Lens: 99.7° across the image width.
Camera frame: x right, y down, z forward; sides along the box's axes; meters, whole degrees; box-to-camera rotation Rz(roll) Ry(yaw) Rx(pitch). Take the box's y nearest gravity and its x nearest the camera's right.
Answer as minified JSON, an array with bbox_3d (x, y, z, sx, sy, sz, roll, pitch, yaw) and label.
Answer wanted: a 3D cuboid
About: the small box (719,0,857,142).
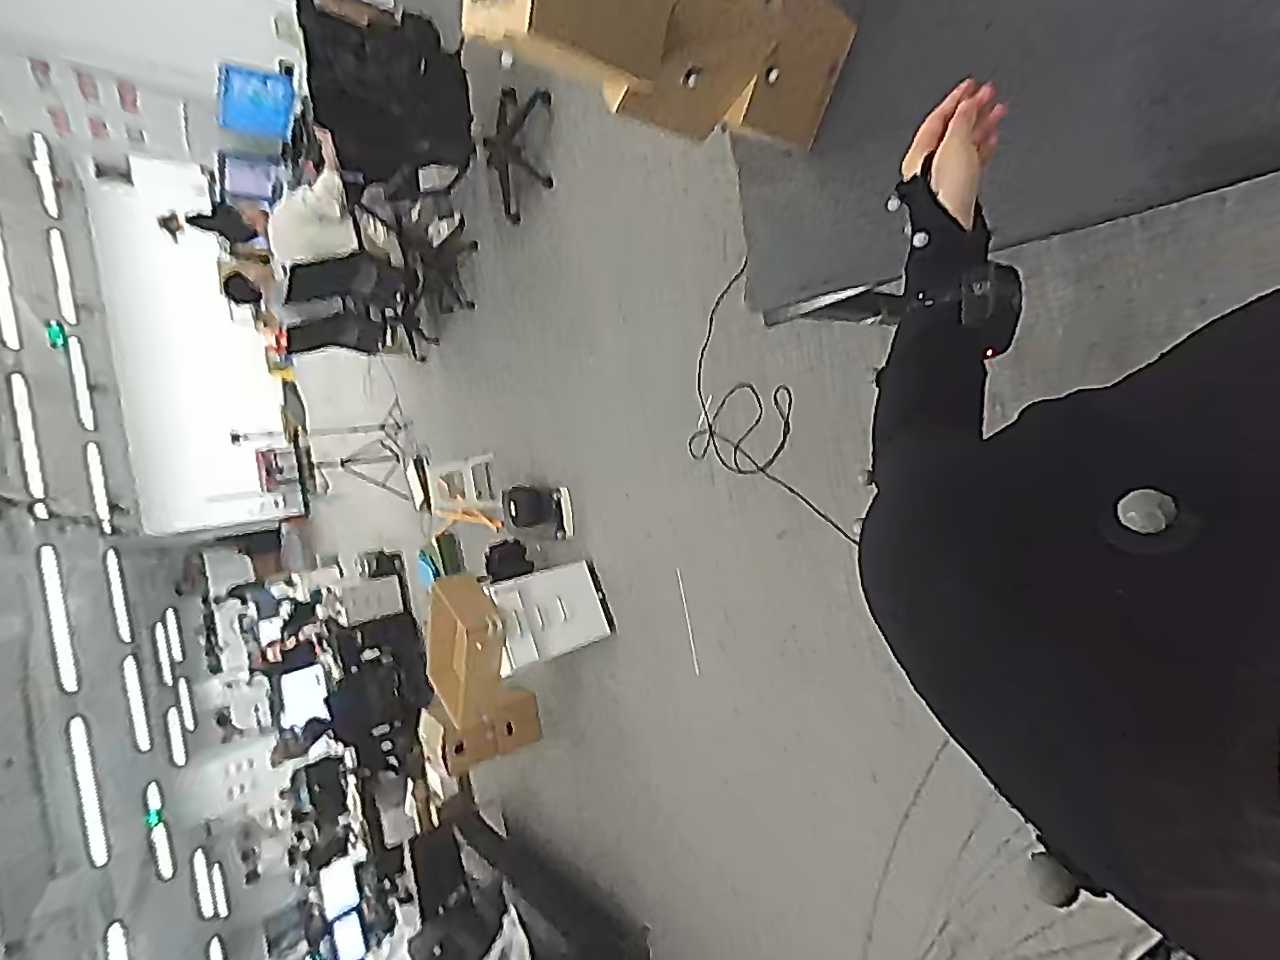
[{"bbox_3d":[0.176,-0.622,0.797,0.179,0.176,0.168,45,130,35],"label":"small box"}]

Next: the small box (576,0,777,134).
[{"bbox_3d":[0.050,-0.594,0.695,0.179,0.176,0.168,-36,71,49],"label":"small box"}]
